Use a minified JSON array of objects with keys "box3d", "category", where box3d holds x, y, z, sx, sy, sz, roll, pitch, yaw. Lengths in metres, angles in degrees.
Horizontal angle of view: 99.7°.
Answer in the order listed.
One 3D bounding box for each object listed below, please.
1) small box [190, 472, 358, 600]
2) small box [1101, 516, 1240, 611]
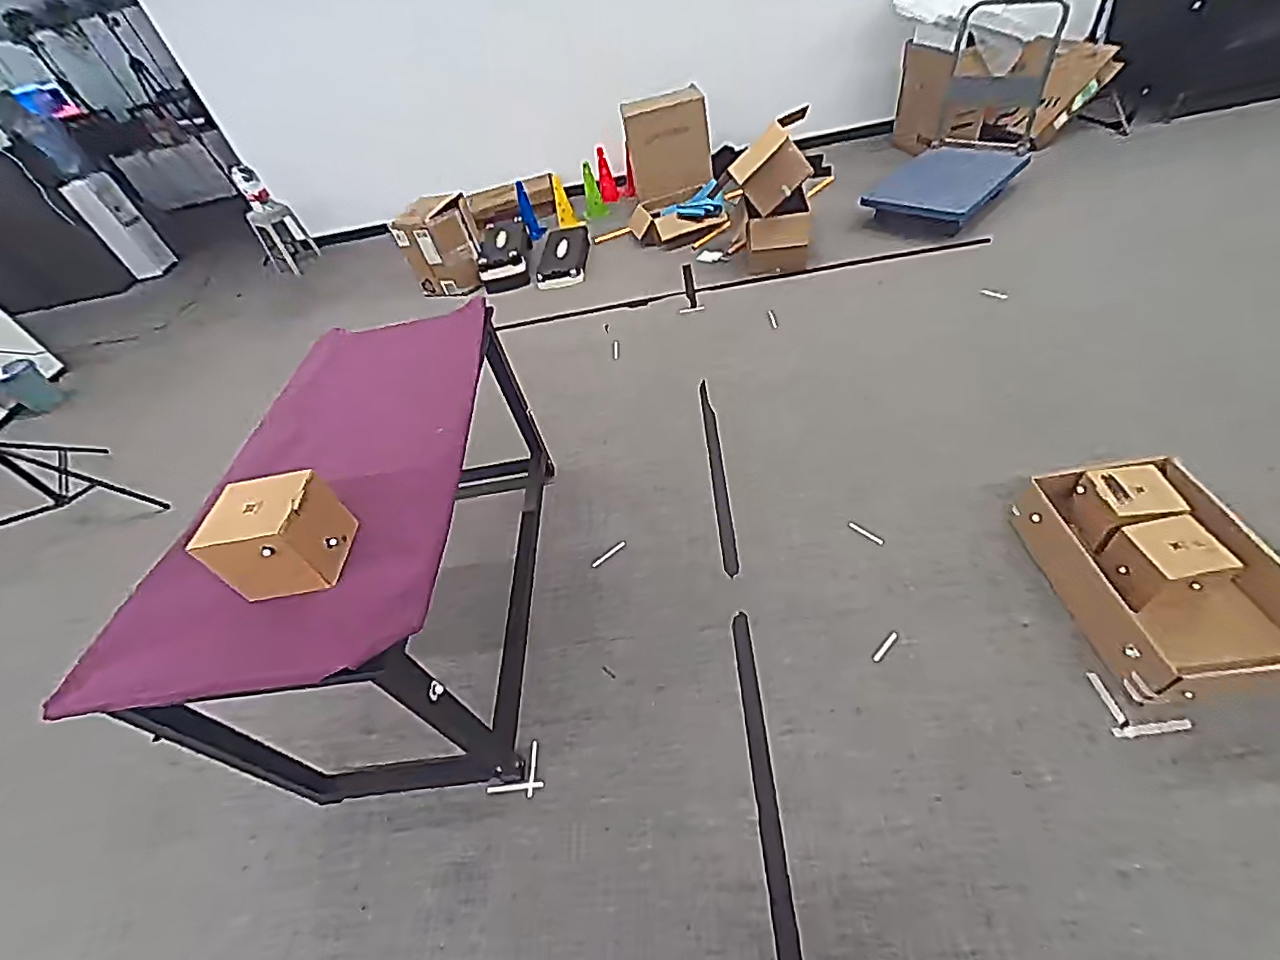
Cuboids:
[{"box3d":[-0.688,0.112,1.040,0.179,0.176,0.168,-10,44,3],"category":"small box"},{"box3d":[1.350,0.221,1.399,0.179,0.176,0.168,-12,46,3],"category":"small box"}]
